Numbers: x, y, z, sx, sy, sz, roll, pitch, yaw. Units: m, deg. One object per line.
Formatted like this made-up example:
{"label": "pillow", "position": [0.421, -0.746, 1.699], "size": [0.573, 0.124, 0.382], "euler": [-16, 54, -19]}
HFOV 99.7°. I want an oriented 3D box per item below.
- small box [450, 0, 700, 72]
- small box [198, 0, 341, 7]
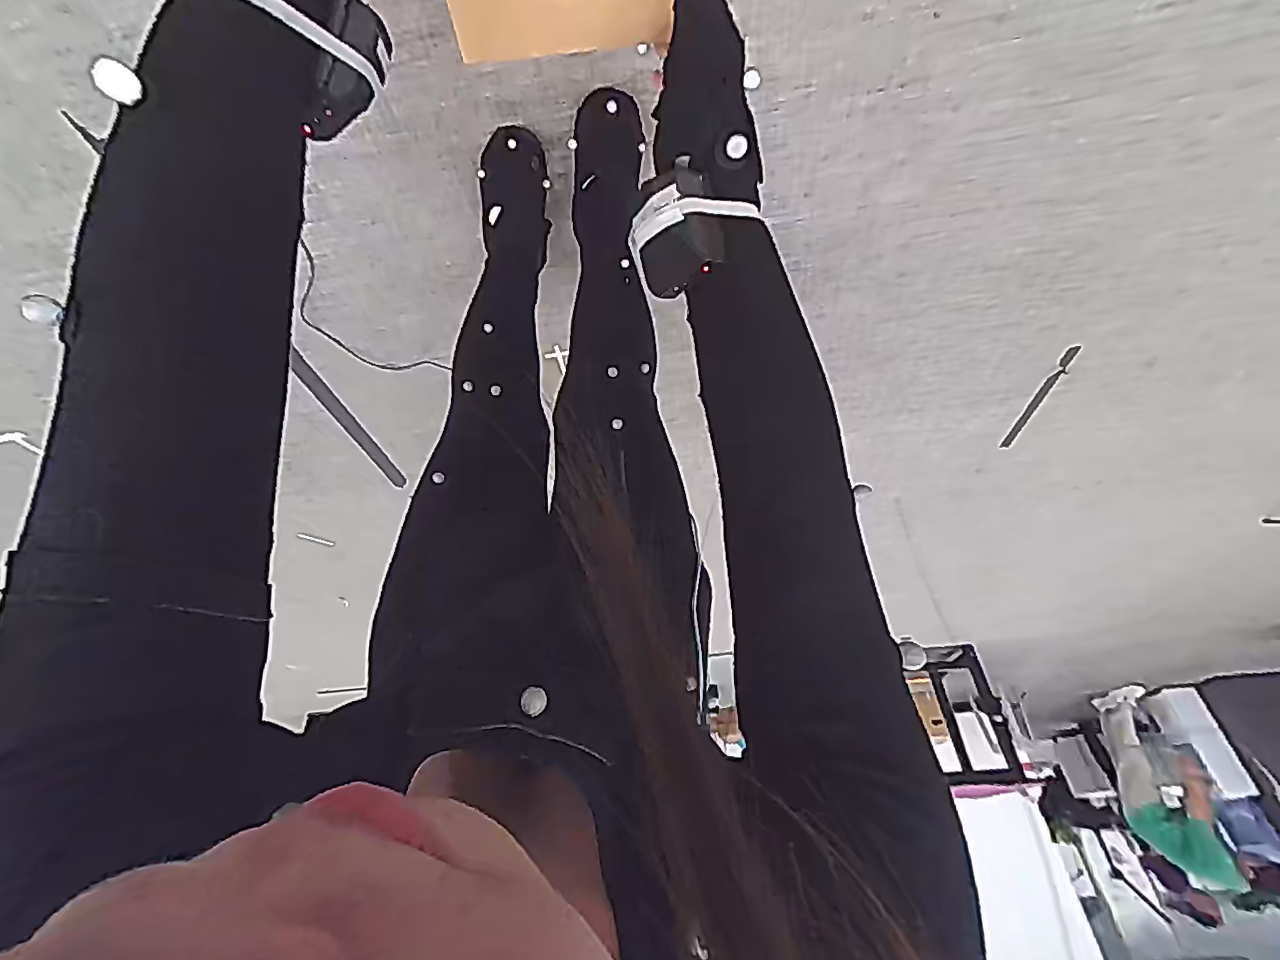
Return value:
{"label": "small box", "position": [-0.053, -0.424, 0.384], "size": [0.179, 0.176, 0.168], "euler": [-6, 144, 2]}
{"label": "small box", "position": [-0.424, -0.658, 0.591], "size": [0.168, 0.176, 0.179], "euler": [-4, 145, -1]}
